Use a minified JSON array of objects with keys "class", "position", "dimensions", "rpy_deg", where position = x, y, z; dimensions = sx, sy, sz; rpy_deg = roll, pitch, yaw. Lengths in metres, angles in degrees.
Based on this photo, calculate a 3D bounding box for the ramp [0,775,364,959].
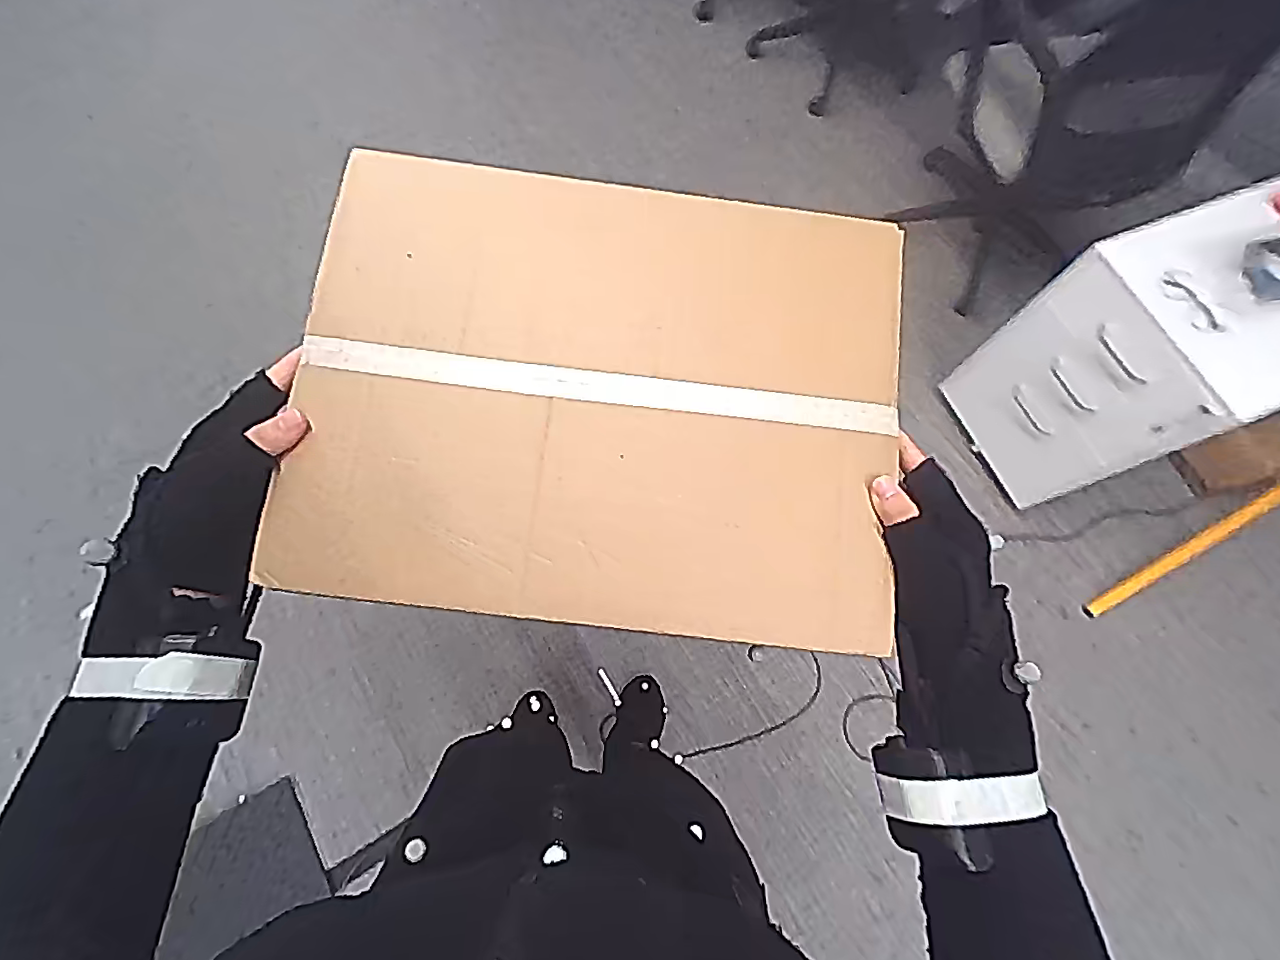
[{"class":"ramp","position":[-1.094,1.081,1.016],"dimensions":[0.991,0.206,0.509],"rpy_deg":[-32,74,-12]}]

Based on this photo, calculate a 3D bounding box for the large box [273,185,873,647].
[{"class":"large box","position":[-0.036,-0.030,0.529],"dimensions":[0.408,0.320,0.320],"rpy_deg":[6,79,-2]}]
